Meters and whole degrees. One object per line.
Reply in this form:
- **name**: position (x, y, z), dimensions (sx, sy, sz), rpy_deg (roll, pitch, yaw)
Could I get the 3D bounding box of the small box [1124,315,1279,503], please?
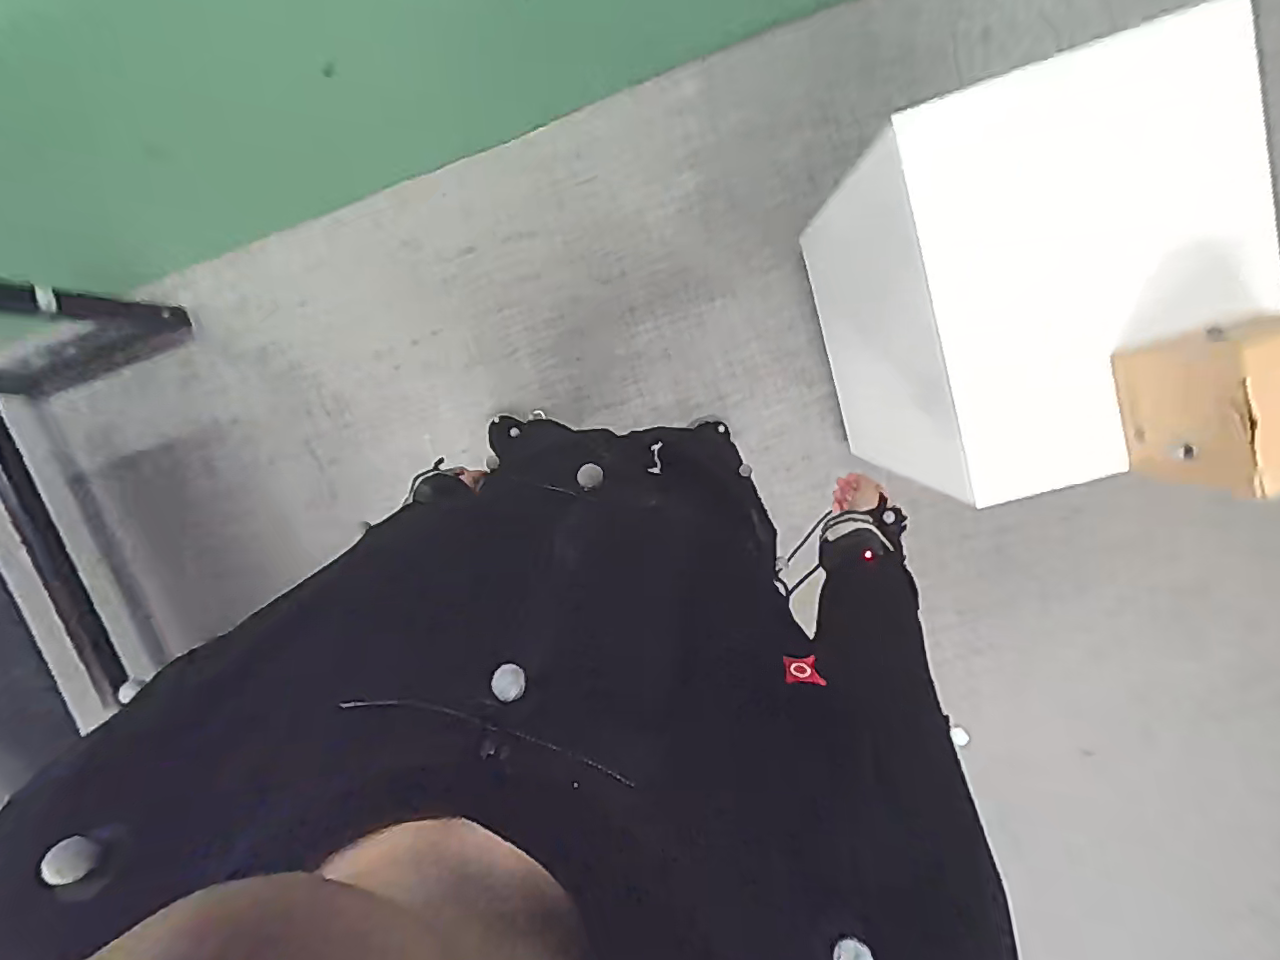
- **small box**: position (0.694, -0.087, 0.605), dimensions (0.179, 0.176, 0.168), rpy_deg (-16, 99, 6)
